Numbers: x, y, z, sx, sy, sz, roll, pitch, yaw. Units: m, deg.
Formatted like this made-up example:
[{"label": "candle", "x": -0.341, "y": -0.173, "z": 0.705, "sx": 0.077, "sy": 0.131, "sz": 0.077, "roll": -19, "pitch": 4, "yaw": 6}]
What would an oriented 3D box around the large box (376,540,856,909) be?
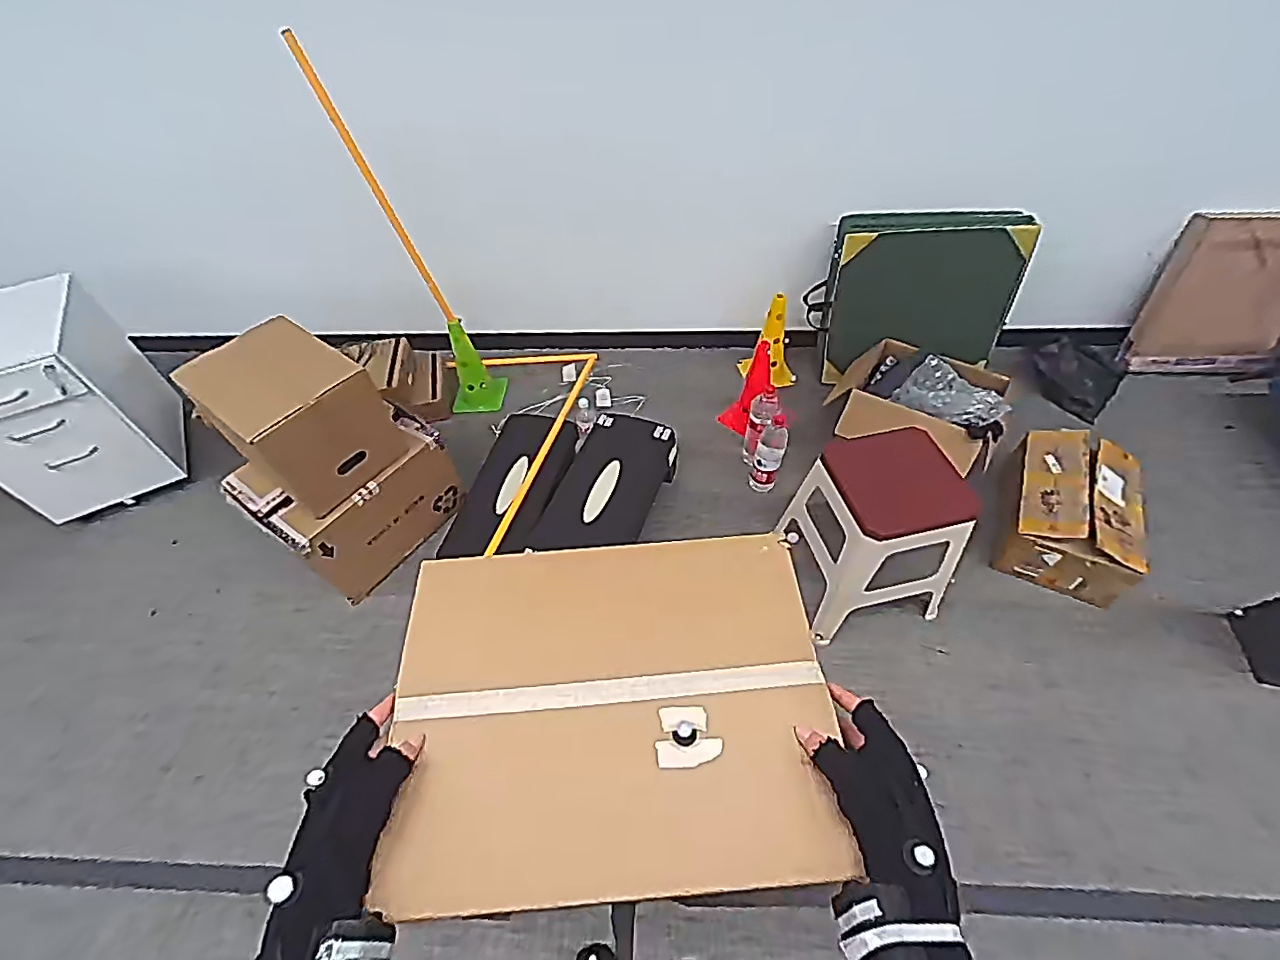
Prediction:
[{"label": "large box", "x": -0.026, "y": 0.295, "z": 0.645, "sx": 0.408, "sy": 0.320, "sz": 0.320, "roll": -4, "pitch": 54, "yaw": -1}]
